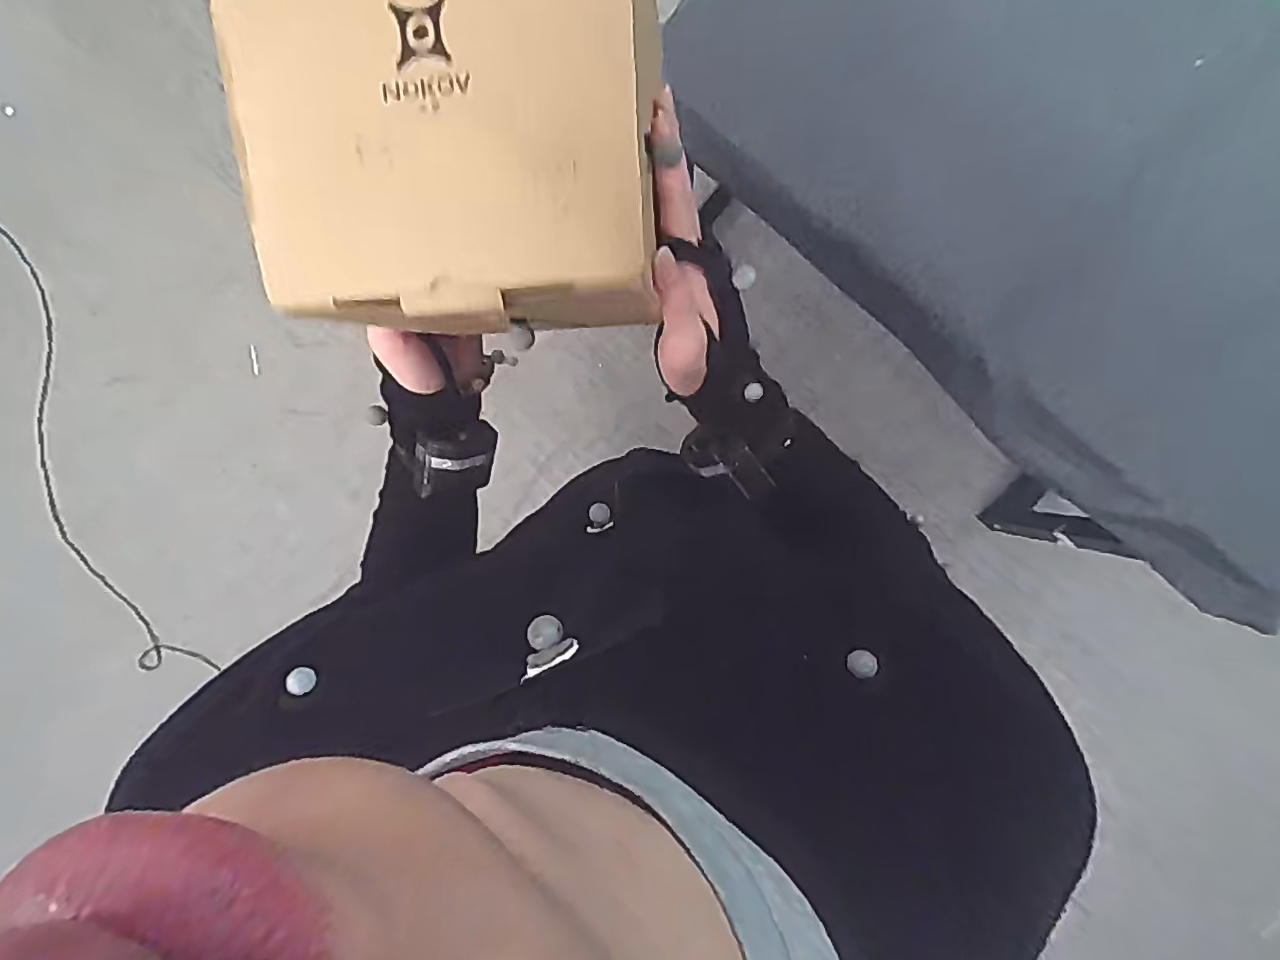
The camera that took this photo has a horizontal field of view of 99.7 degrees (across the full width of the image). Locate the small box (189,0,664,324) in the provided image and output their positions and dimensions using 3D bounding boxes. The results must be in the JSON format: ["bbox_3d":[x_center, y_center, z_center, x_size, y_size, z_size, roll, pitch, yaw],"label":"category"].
[{"bbox_3d":[-0.075,-0.172,0.274,0.168,0.176,0.179,-2,104,5],"label":"small box"}]
